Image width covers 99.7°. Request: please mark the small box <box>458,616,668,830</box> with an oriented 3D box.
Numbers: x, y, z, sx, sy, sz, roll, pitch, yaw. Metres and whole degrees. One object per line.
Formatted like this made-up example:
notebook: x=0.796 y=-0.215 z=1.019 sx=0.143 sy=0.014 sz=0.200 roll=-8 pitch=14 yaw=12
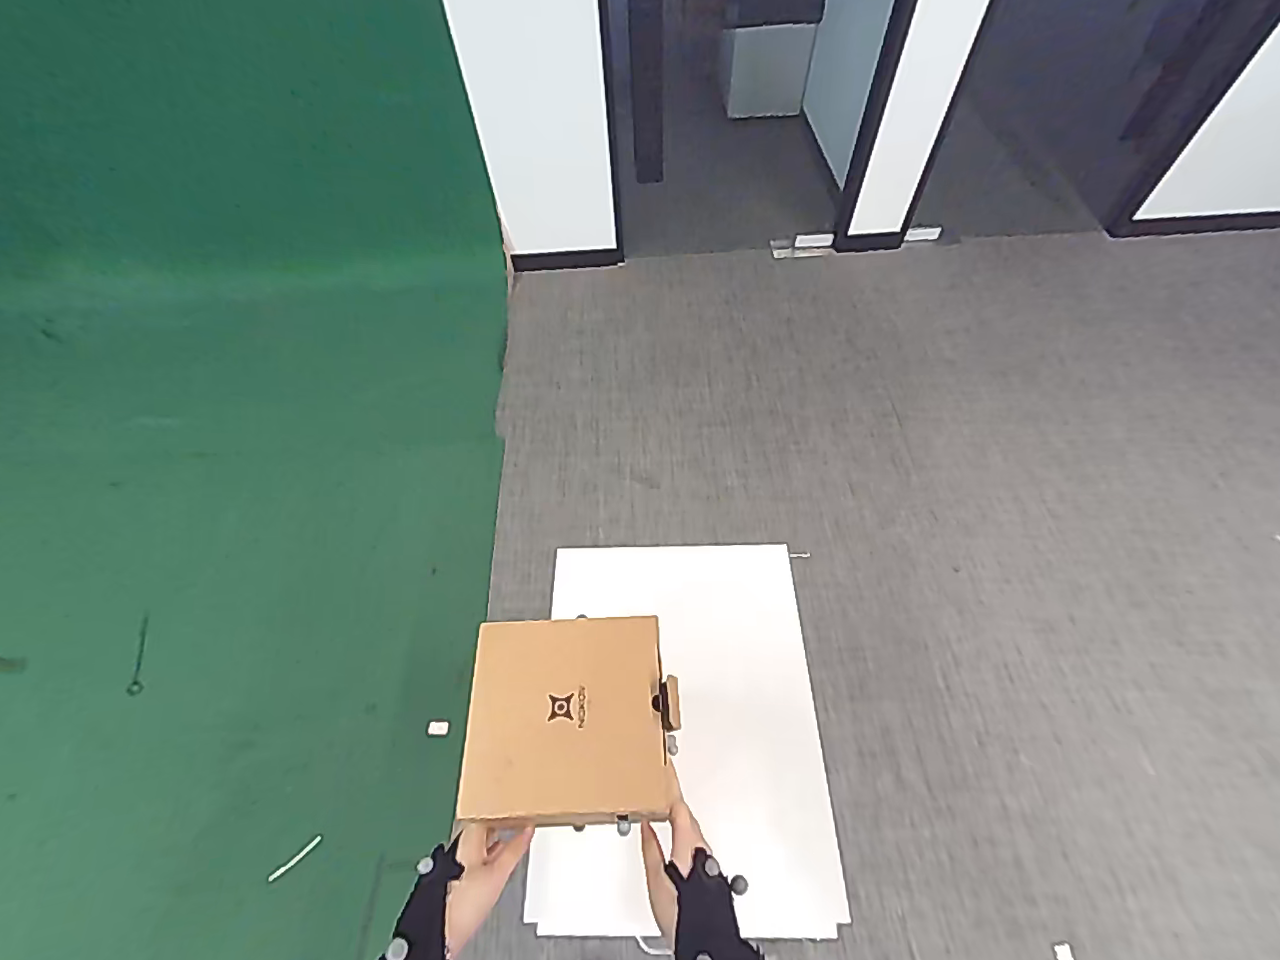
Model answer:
small box: x=-0.064 y=0.251 z=0.550 sx=0.179 sy=0.176 sz=0.168 roll=-2 pitch=54 yaw=-1
